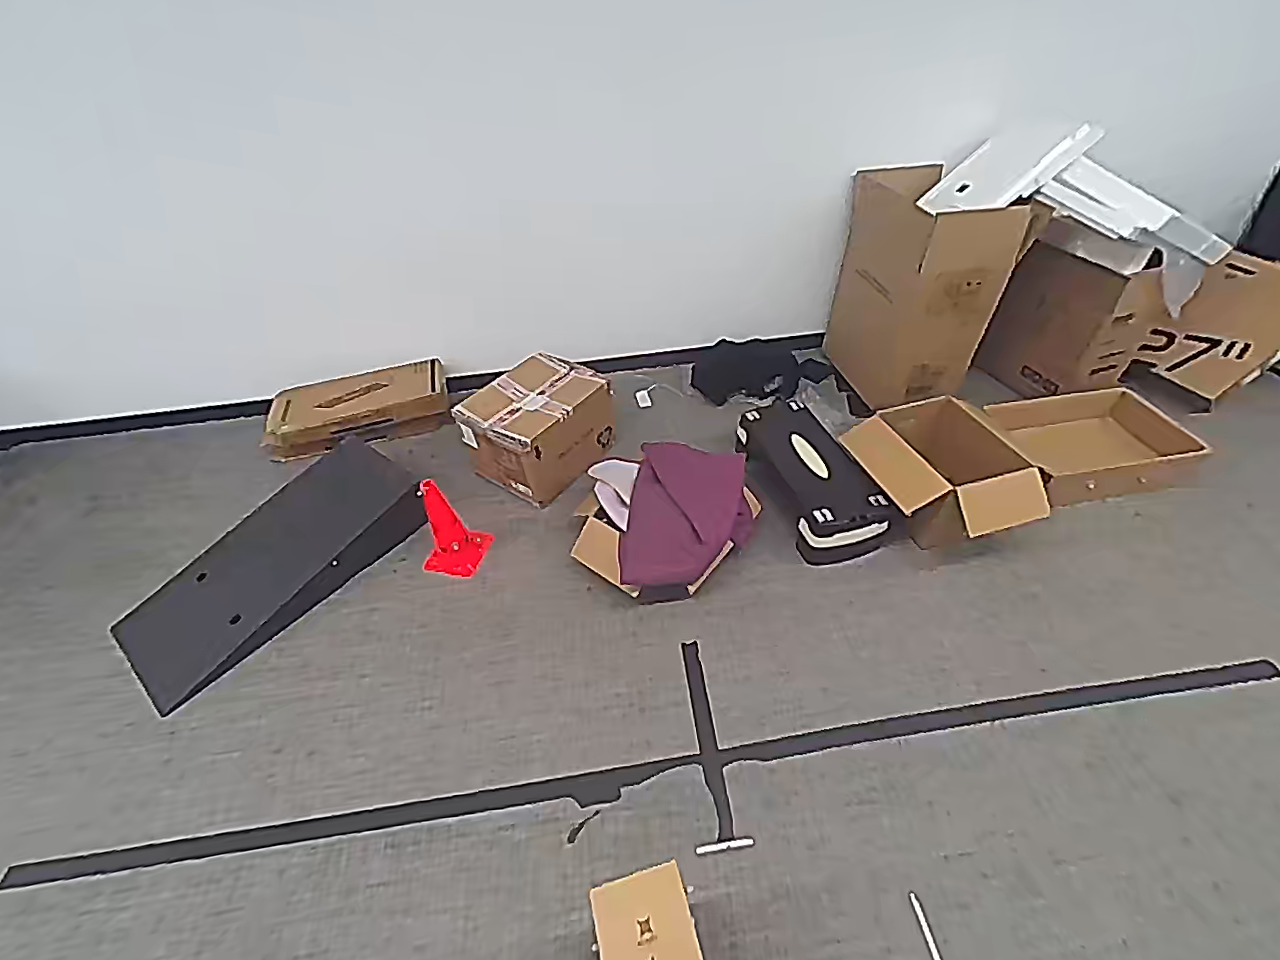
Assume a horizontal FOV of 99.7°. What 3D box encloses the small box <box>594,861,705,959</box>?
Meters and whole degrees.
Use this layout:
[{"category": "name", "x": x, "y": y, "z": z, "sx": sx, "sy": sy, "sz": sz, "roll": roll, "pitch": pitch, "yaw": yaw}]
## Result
[{"category": "small box", "x": 0.021, "y": 0.827, "z": 0.969, "sx": 0.168, "sy": 0.176, "sz": 0.179, "roll": -14, "pitch": 44, "yaw": -7}]
